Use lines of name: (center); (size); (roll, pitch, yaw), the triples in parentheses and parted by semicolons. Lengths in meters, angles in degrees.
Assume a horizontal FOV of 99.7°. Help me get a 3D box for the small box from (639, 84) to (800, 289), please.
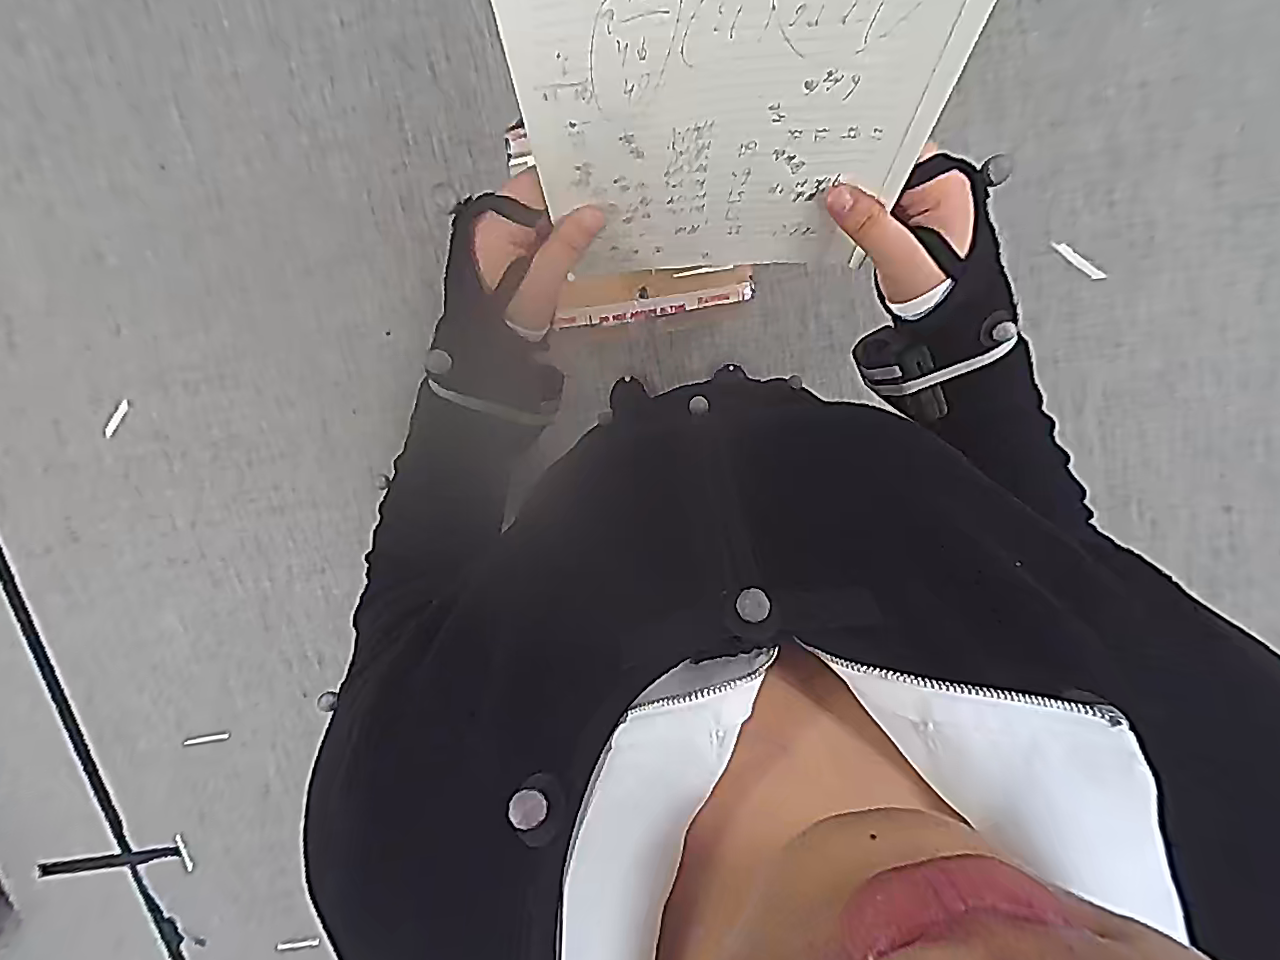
small box: (0.092, -0.358, 0.692); (0.168, 0.176, 0.179); (-9, 102, 2)

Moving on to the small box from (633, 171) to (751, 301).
small box: (0.088, -0.391, 0.854); (0.179, 0.176, 0.168); (-13, 101, 3)
